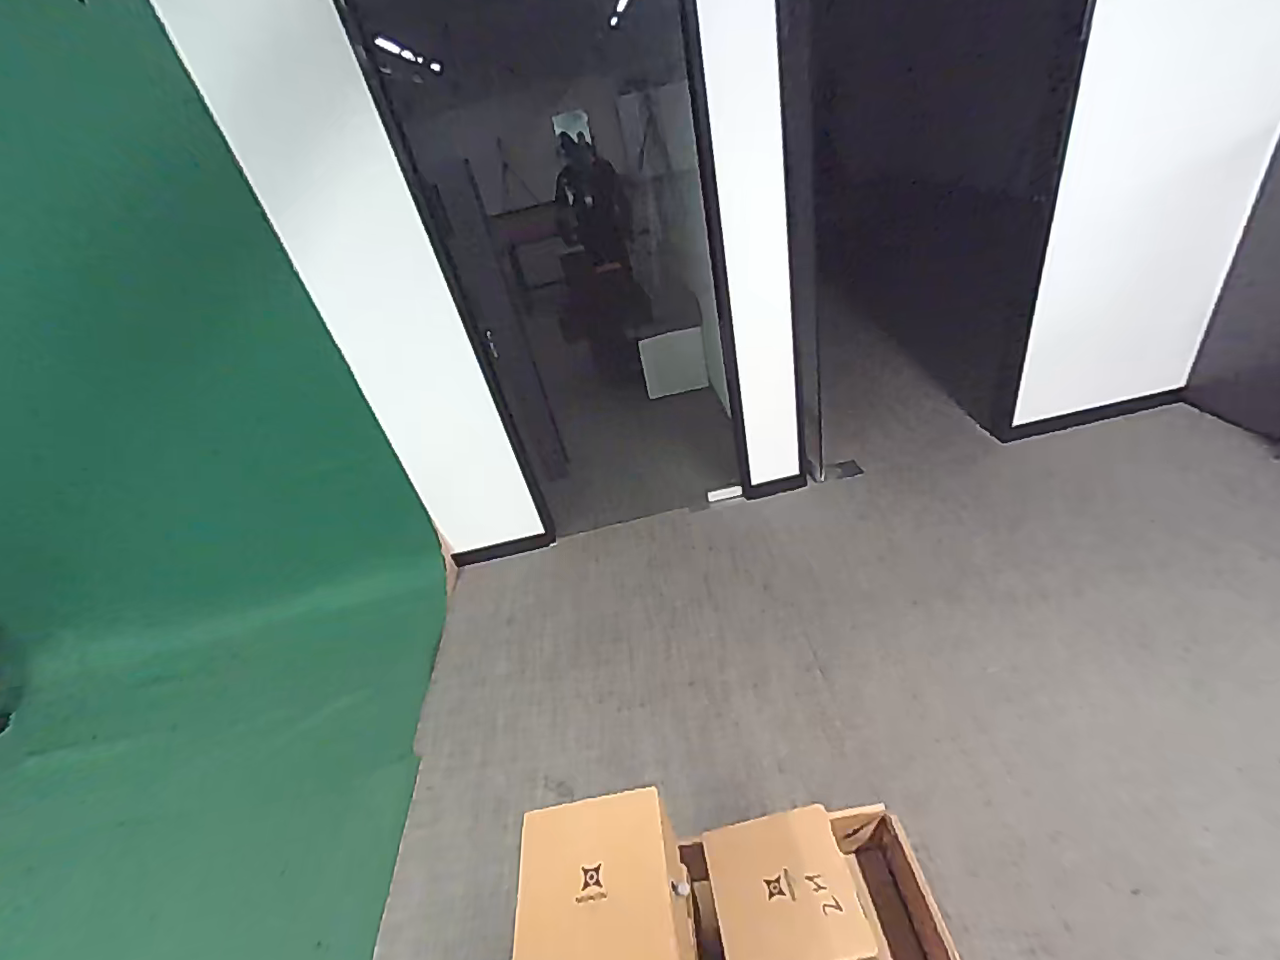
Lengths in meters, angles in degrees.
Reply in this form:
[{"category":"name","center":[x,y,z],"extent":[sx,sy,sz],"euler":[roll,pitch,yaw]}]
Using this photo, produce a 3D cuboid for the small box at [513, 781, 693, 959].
[{"category":"small box","center":[-0.036,0.488,0.623],"extent":[0.168,0.176,0.179],"euler":[-12,34,2]}]
